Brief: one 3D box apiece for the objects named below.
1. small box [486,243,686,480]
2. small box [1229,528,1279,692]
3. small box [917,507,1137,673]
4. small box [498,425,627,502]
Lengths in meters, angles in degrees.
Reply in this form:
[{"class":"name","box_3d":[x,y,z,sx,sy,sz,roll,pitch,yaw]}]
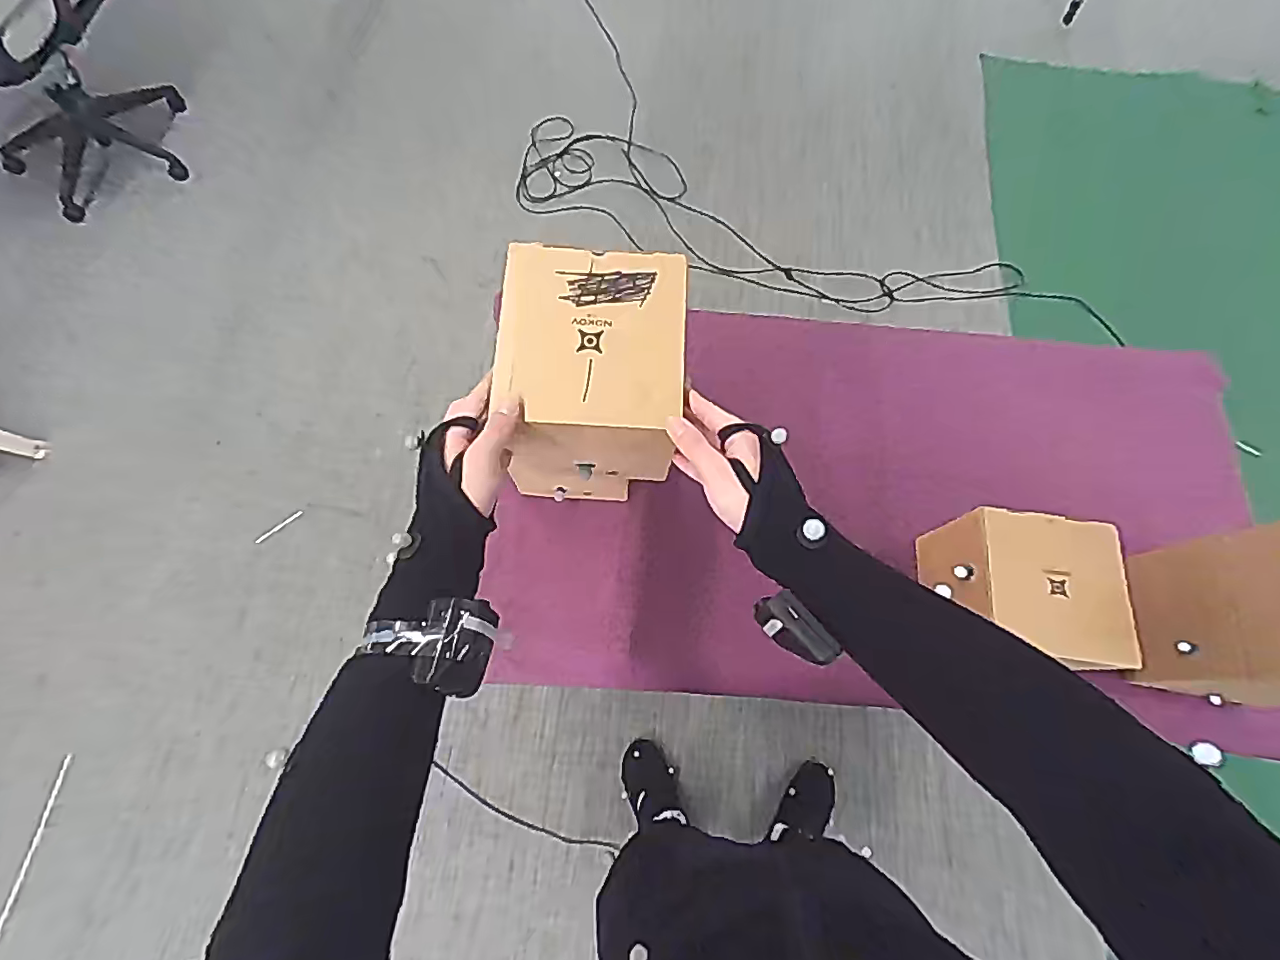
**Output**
[{"class":"small box","box_3d":[-0.048,-0.109,0.552,0.168,0.176,0.179,3,76,-1]},{"class":"small box","box_3d":[0.774,0.134,0.551,0.168,0.176,0.179,9,69,4]},{"class":"small box","box_3d":[0.490,0.154,0.717,0.168,0.176,0.179,8,68,2]},{"class":"small box","box_3d":[-0.097,-0.080,0.791,0.168,0.176,0.179,3,70,0]}]
